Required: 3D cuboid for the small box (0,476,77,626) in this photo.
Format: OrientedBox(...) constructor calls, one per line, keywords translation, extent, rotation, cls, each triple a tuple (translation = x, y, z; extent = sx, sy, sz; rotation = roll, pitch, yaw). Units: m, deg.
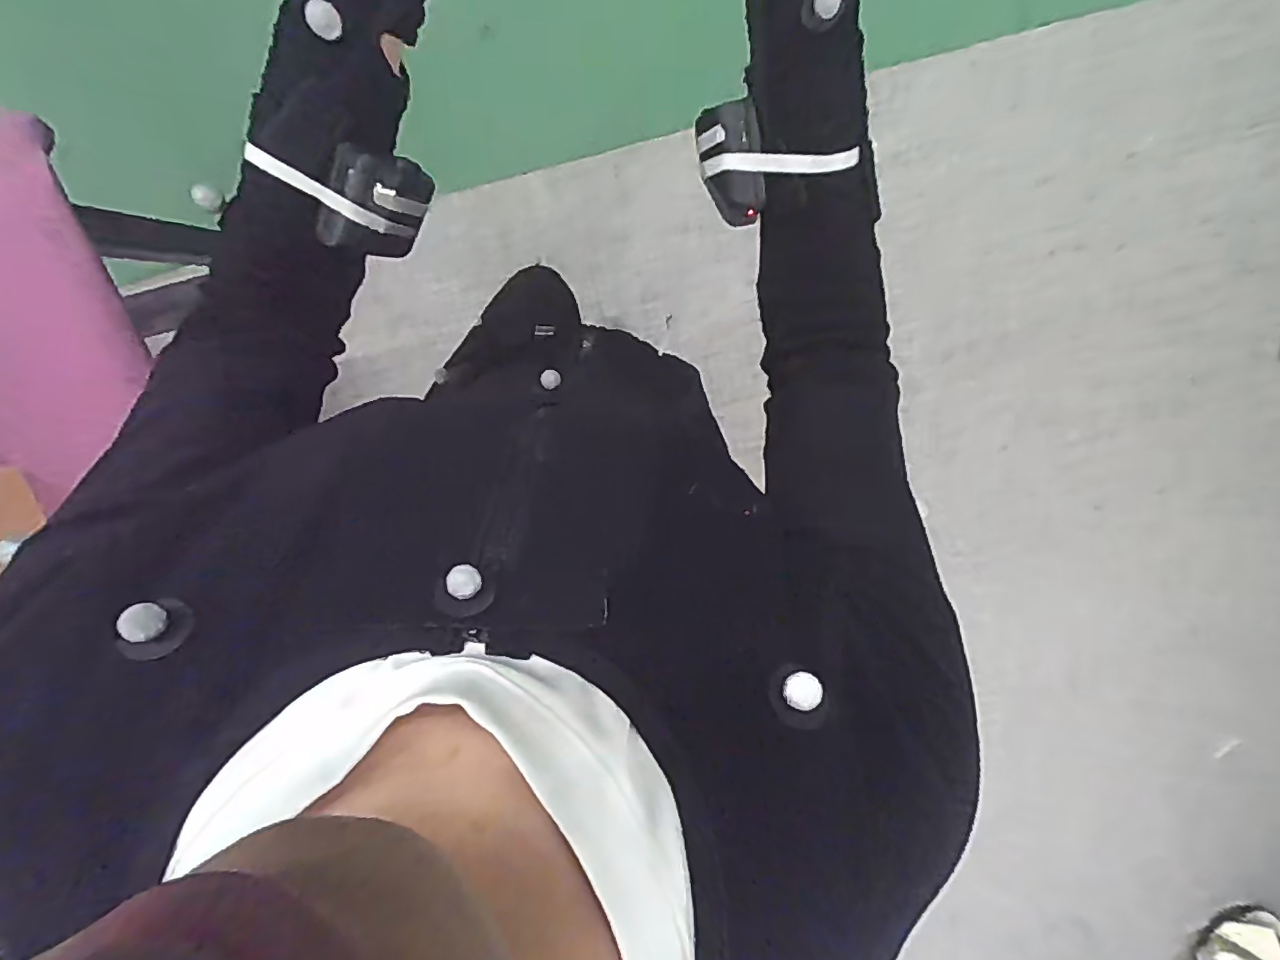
OrientedBox(translation=(-0.868, 0.098, 0.656), extent=(0.168, 0.176, 0.179), rotation=(-6, 107, 2), cls="small box")
